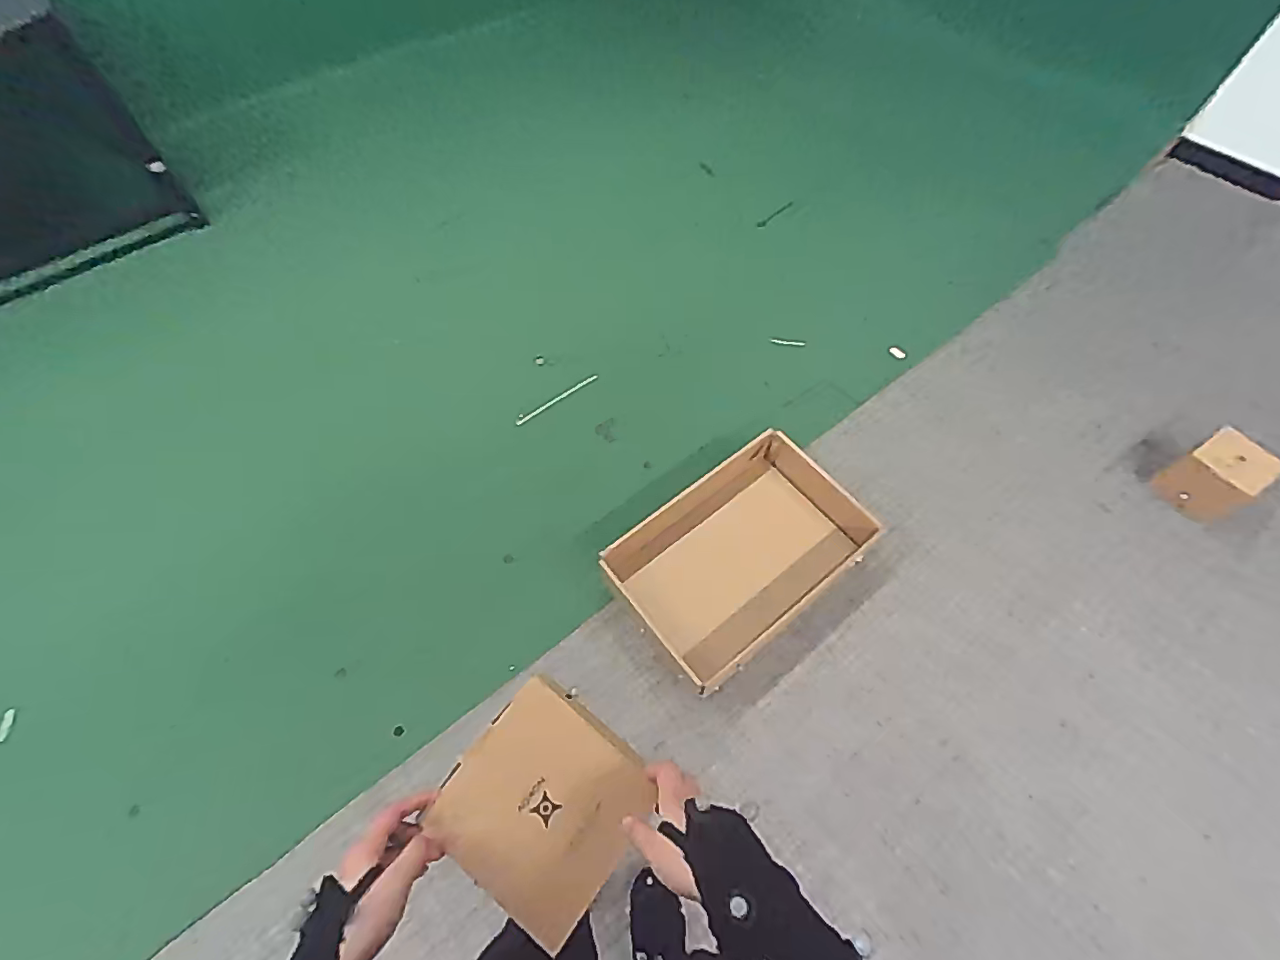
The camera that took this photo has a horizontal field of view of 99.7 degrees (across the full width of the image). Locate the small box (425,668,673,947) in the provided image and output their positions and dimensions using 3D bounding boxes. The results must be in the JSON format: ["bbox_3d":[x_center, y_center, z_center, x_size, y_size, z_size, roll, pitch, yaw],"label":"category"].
[{"bbox_3d":[-0.090,0.327,0.584,0.179,0.176,0.168,37,72,8],"label":"small box"}]

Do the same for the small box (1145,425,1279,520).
[{"bbox_3d":[1.601,-0.018,1.525,0.179,0.176,0.168,-30,65,-15],"label":"small box"}]
